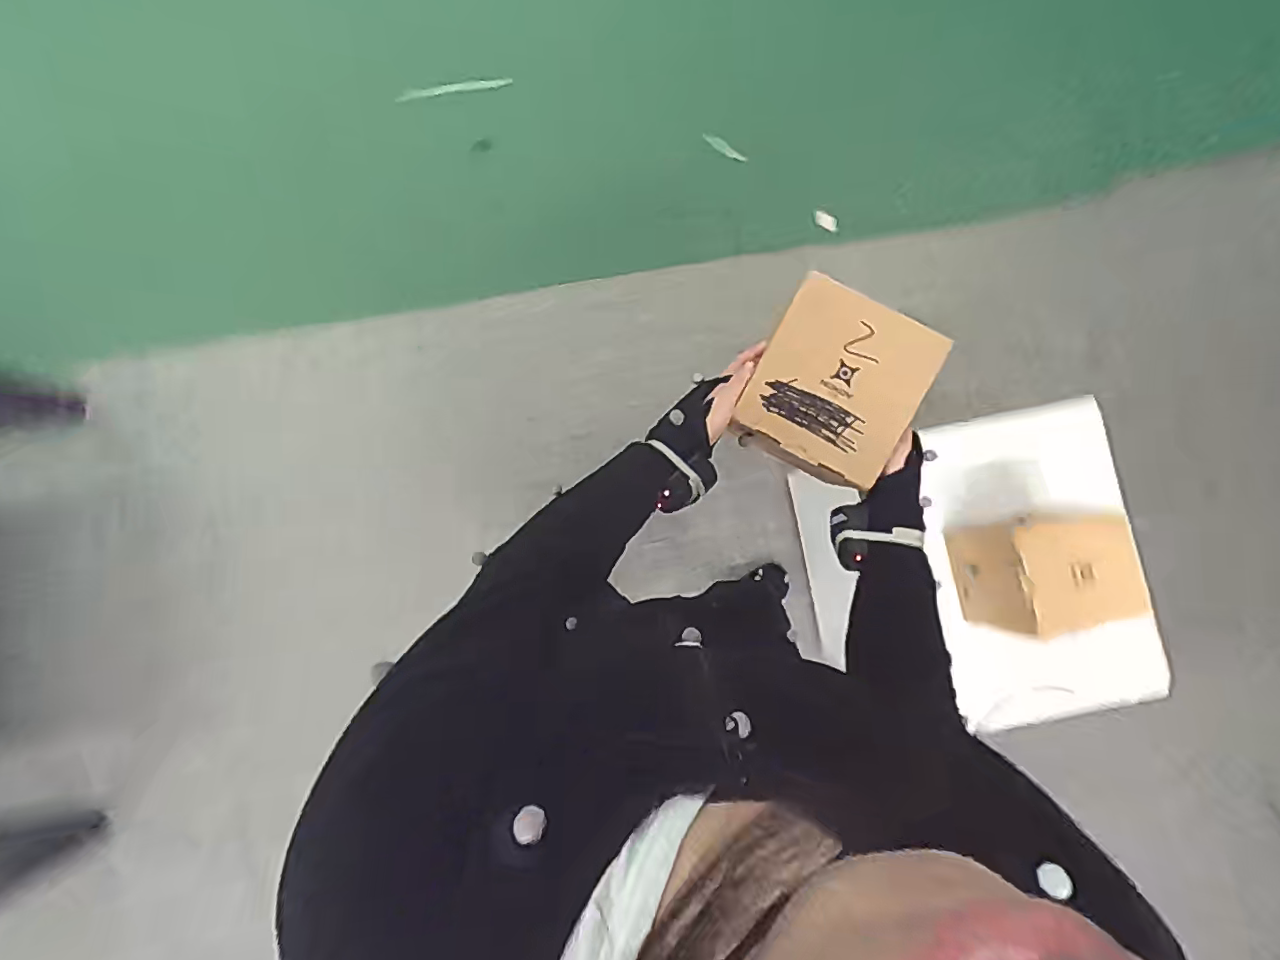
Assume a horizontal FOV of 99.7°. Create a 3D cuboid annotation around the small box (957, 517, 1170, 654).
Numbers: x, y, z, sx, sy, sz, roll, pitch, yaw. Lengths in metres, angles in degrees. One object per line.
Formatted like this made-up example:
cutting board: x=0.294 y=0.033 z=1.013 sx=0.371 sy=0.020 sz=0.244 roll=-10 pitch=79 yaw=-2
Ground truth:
small box: x=0.634 y=0.152 z=0.830 sx=0.179 sy=0.176 sz=0.168 roll=-11 pitch=85 yaw=-4
